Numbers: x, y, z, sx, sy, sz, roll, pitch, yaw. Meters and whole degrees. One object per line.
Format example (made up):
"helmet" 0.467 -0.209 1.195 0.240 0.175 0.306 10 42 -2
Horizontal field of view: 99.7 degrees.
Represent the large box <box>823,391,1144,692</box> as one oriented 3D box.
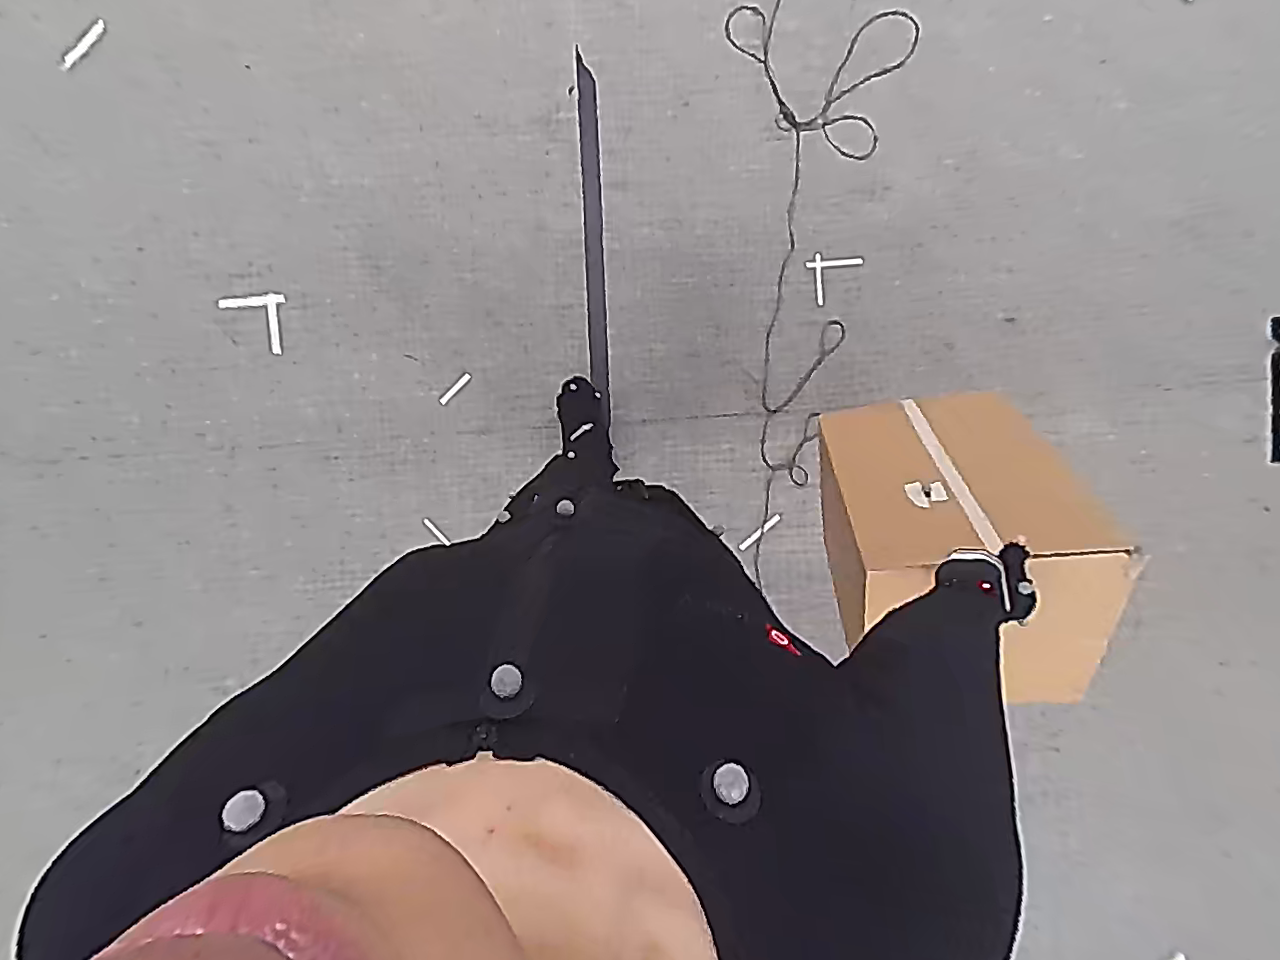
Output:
"large box" 0.504 0.095 0.917 0.320 0.408 0.320 -7 127 13
